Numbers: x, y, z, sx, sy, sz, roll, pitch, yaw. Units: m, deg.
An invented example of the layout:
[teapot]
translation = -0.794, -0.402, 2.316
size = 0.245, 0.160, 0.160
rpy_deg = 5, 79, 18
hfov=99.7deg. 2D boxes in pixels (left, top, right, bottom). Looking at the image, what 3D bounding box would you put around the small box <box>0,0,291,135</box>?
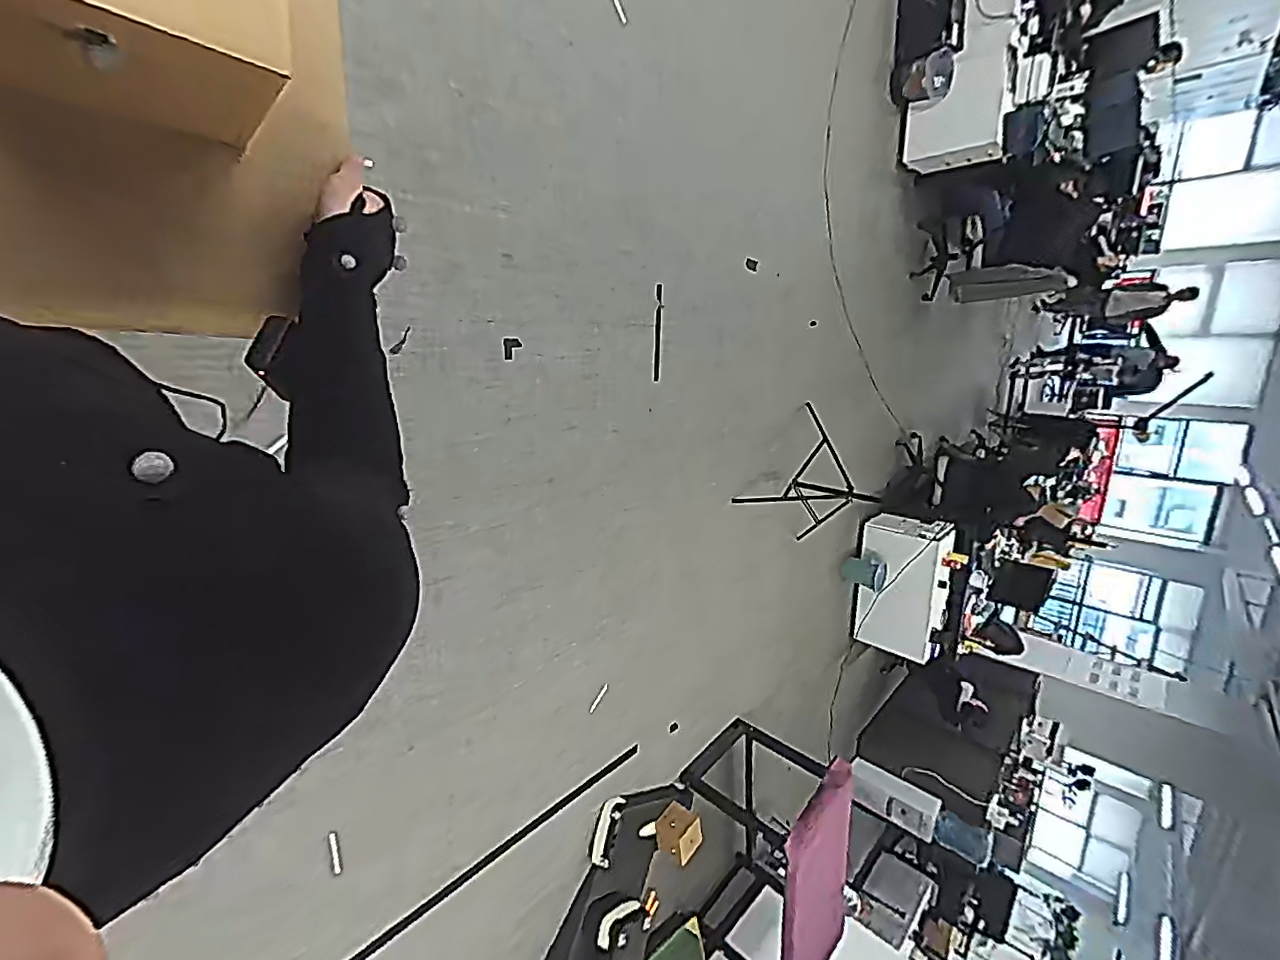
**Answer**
[small box]
translation = -0.359, -0.362, 0.362
size = 0.179, 0.176, 0.168
rpy_deg = -8, 104, -44
